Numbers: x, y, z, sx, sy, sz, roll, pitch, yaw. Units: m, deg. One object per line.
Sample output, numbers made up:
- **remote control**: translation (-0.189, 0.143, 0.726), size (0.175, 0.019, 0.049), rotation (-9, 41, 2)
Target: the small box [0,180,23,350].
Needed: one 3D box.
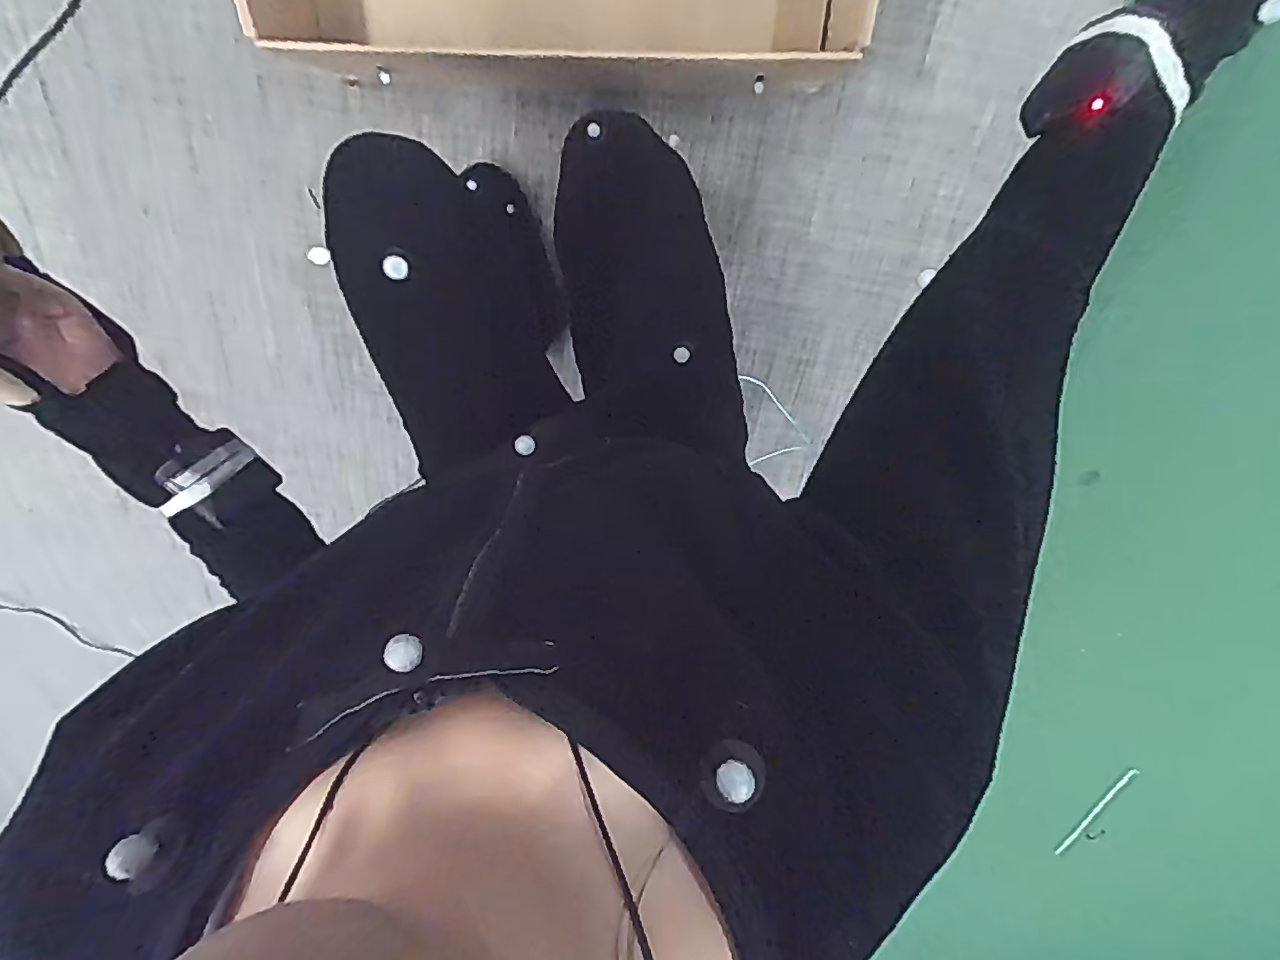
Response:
- **small box**: translation (-0.422, -0.125, 0.218), size (0.168, 0.176, 0.179), rotation (13, 124, -23)
